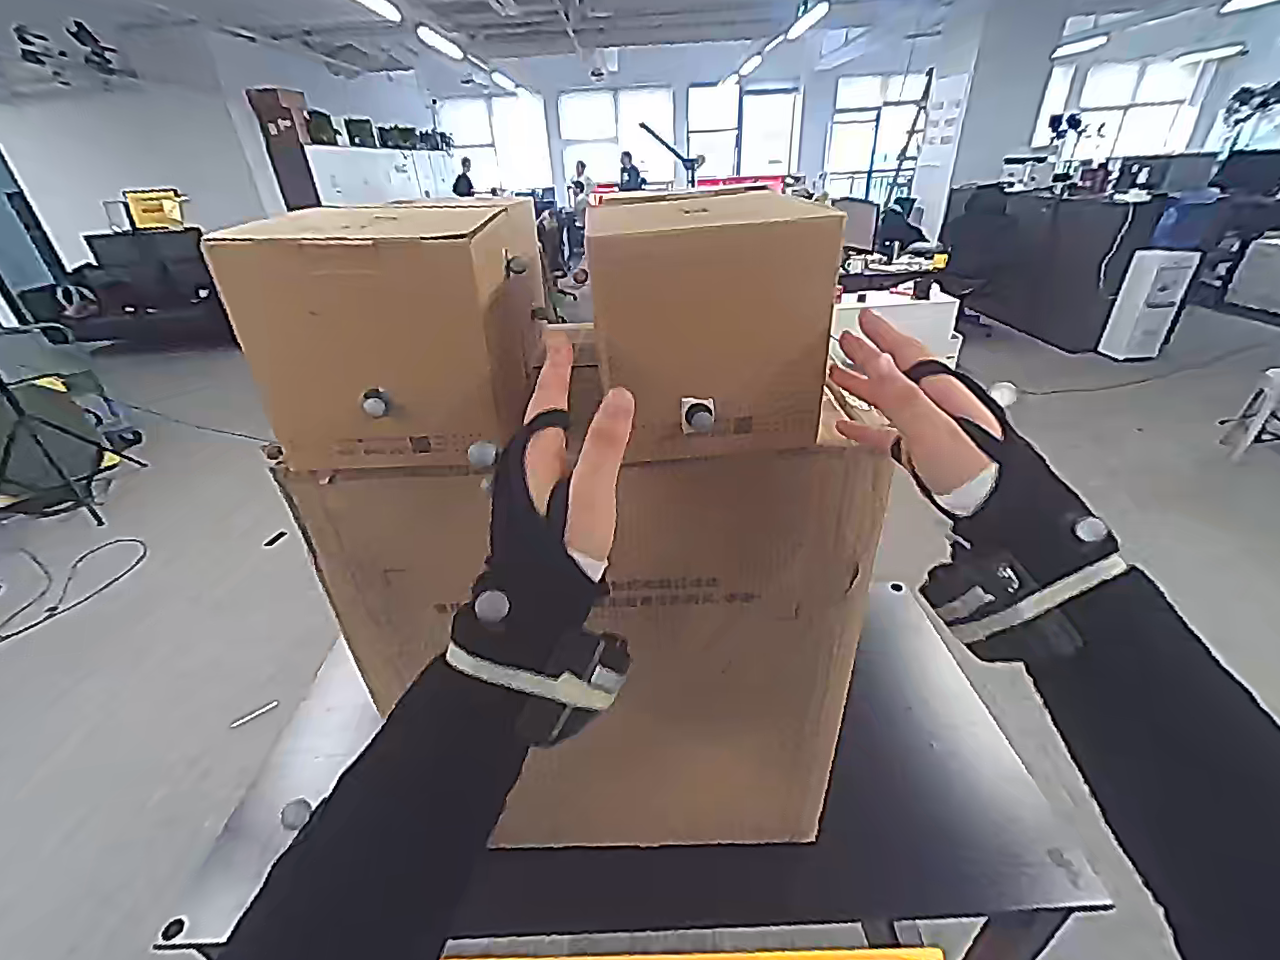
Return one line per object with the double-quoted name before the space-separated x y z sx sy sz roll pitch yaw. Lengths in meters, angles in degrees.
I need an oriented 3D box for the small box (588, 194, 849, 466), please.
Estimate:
"small box" 0.049 -0.129 0.445 0.168 0.176 0.179 -7 32 -2
